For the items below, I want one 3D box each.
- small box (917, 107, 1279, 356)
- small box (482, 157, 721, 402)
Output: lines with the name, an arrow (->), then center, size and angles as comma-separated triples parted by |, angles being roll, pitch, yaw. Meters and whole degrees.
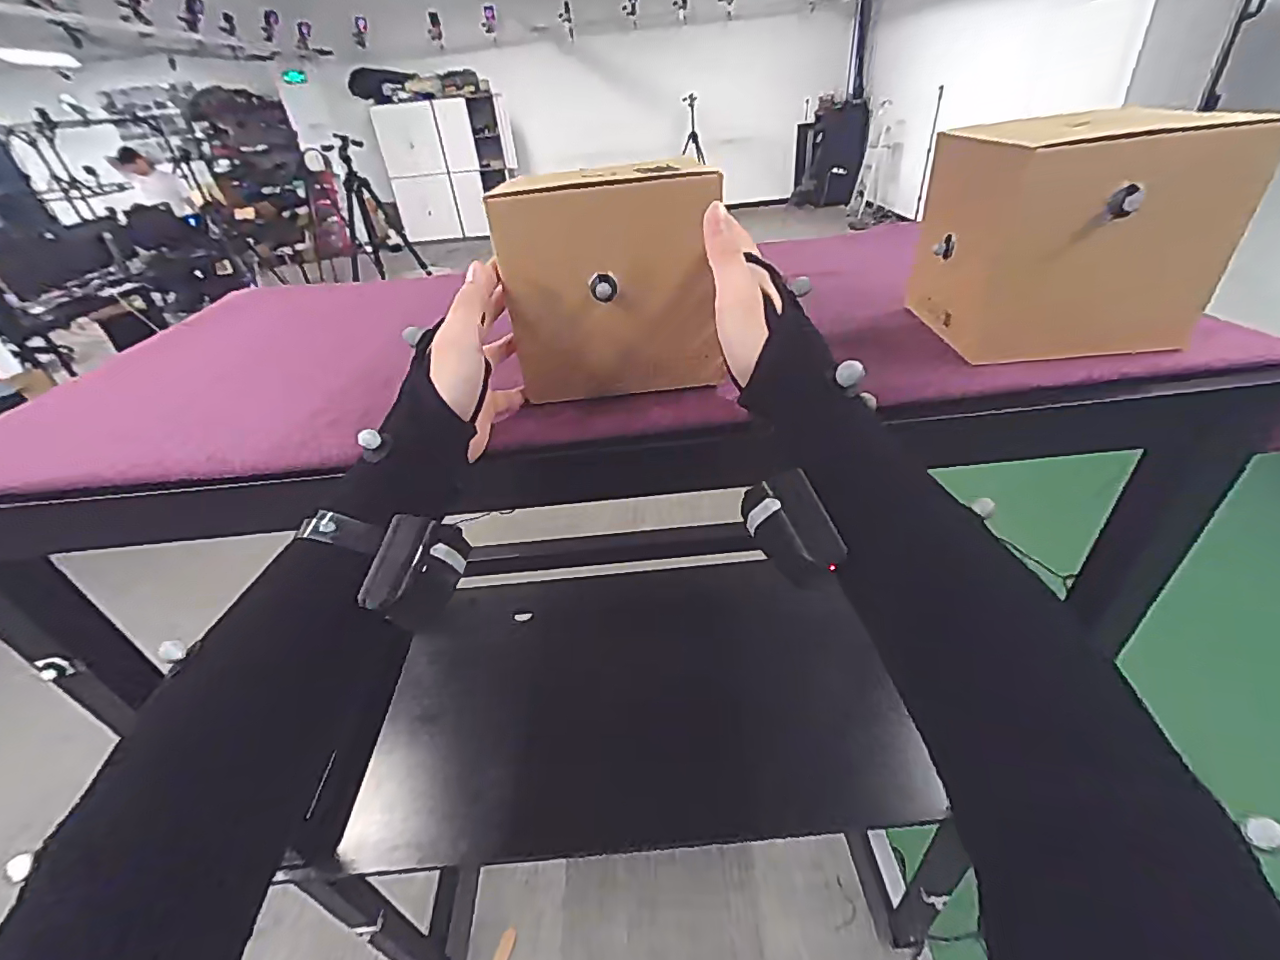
small box -> 0.367, -0.219, 0.481 | 0.179, 0.176, 0.168 | -3, 36, 6
small box -> -0.024, -0.186, 0.498 | 0.179, 0.176, 0.168 | -7, 33, 1
